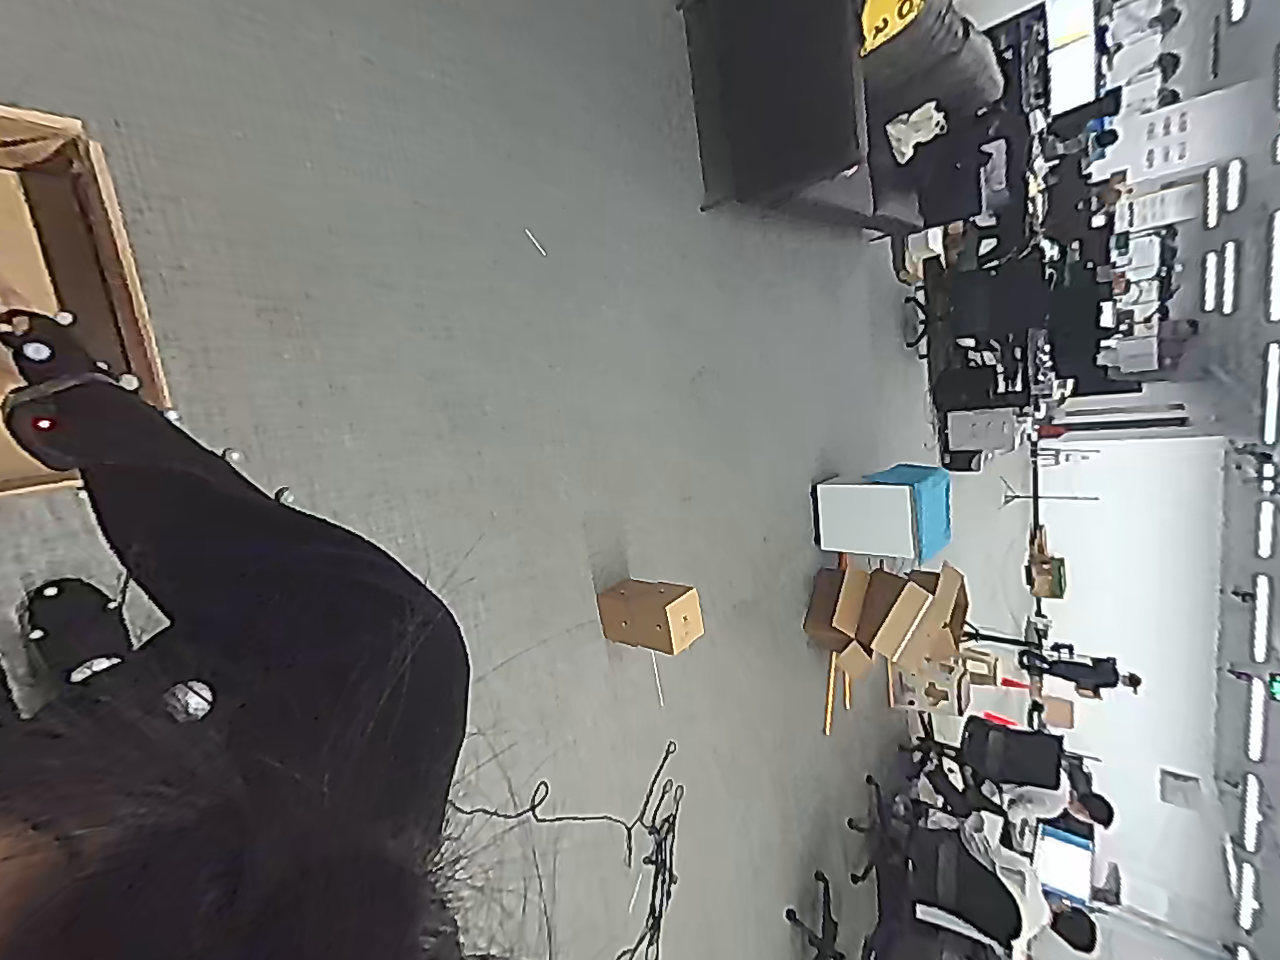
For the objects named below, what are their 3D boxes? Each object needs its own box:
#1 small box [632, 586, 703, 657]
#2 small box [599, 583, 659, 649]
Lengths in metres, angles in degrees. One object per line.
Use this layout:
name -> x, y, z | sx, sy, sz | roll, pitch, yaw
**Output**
small box -> 0.090, 0.469, 1.829 | 0.168, 0.176, 0.179 | -20, 104, -45
small box -> -0.029, 0.480, 1.942 | 0.168, 0.176, 0.179 | -21, 105, -45
